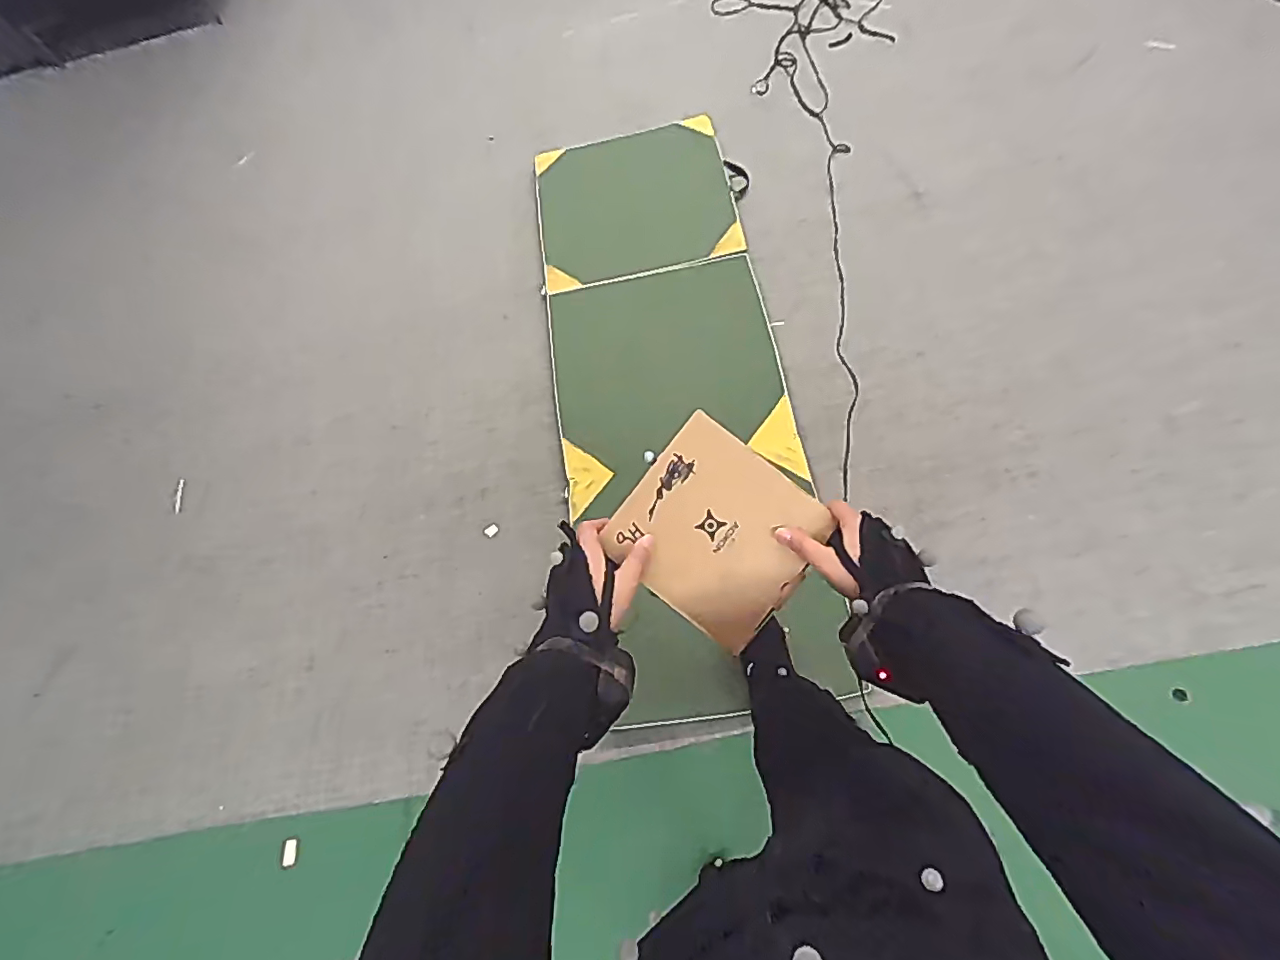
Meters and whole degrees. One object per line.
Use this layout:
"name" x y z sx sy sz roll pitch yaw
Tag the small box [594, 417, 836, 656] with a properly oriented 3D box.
"small box" 0.073 0.056 0.596 0.179 0.176 0.168 39 88 3
